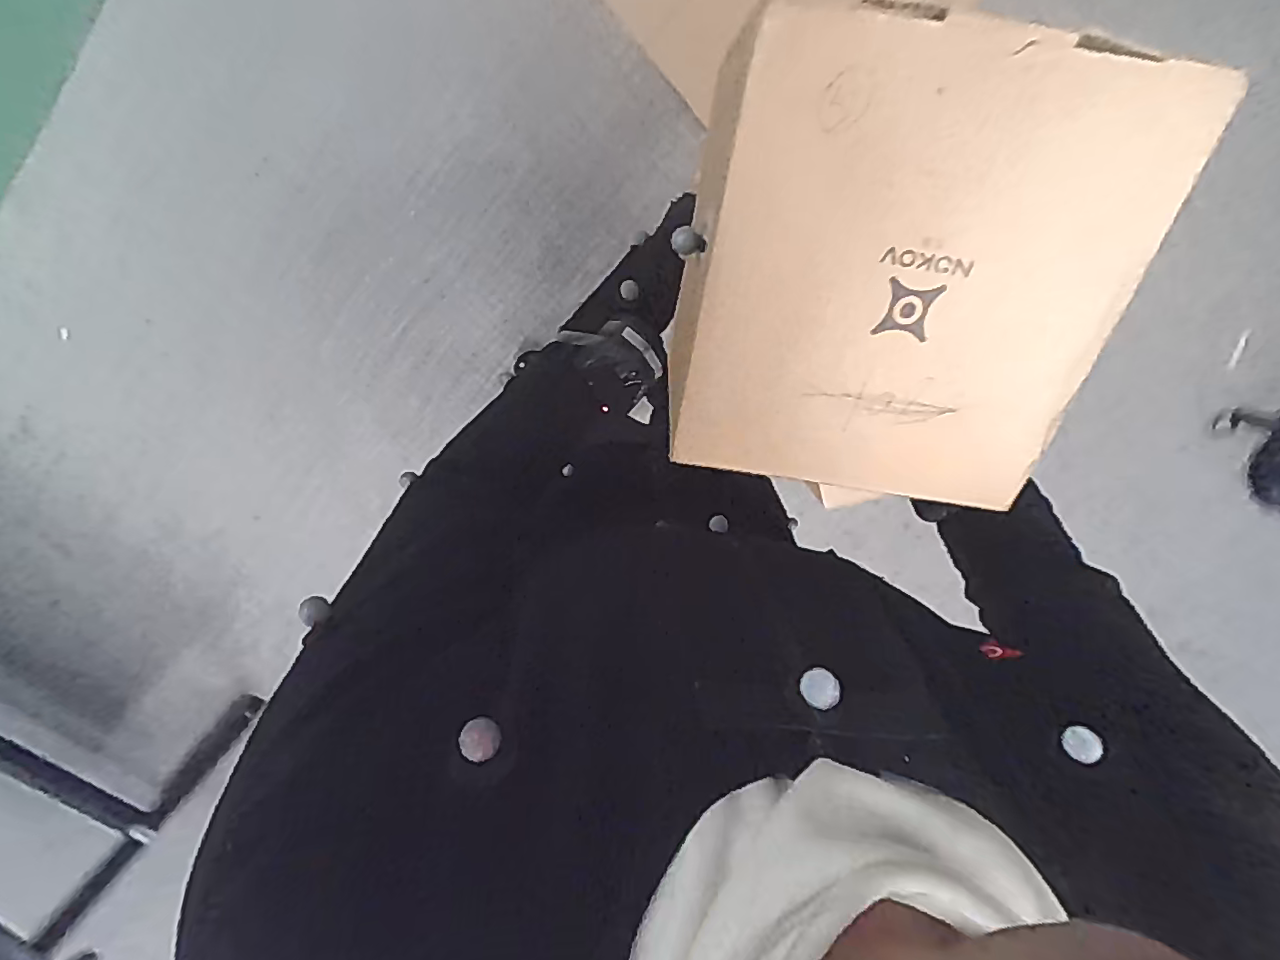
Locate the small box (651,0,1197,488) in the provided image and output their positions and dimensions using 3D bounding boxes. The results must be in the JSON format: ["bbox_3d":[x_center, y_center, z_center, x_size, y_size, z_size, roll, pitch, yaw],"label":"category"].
[{"bbox_3d":[0.099,-0.120,0.288,0.168,0.176,0.179,8,120,-1],"label":"small box"}]
